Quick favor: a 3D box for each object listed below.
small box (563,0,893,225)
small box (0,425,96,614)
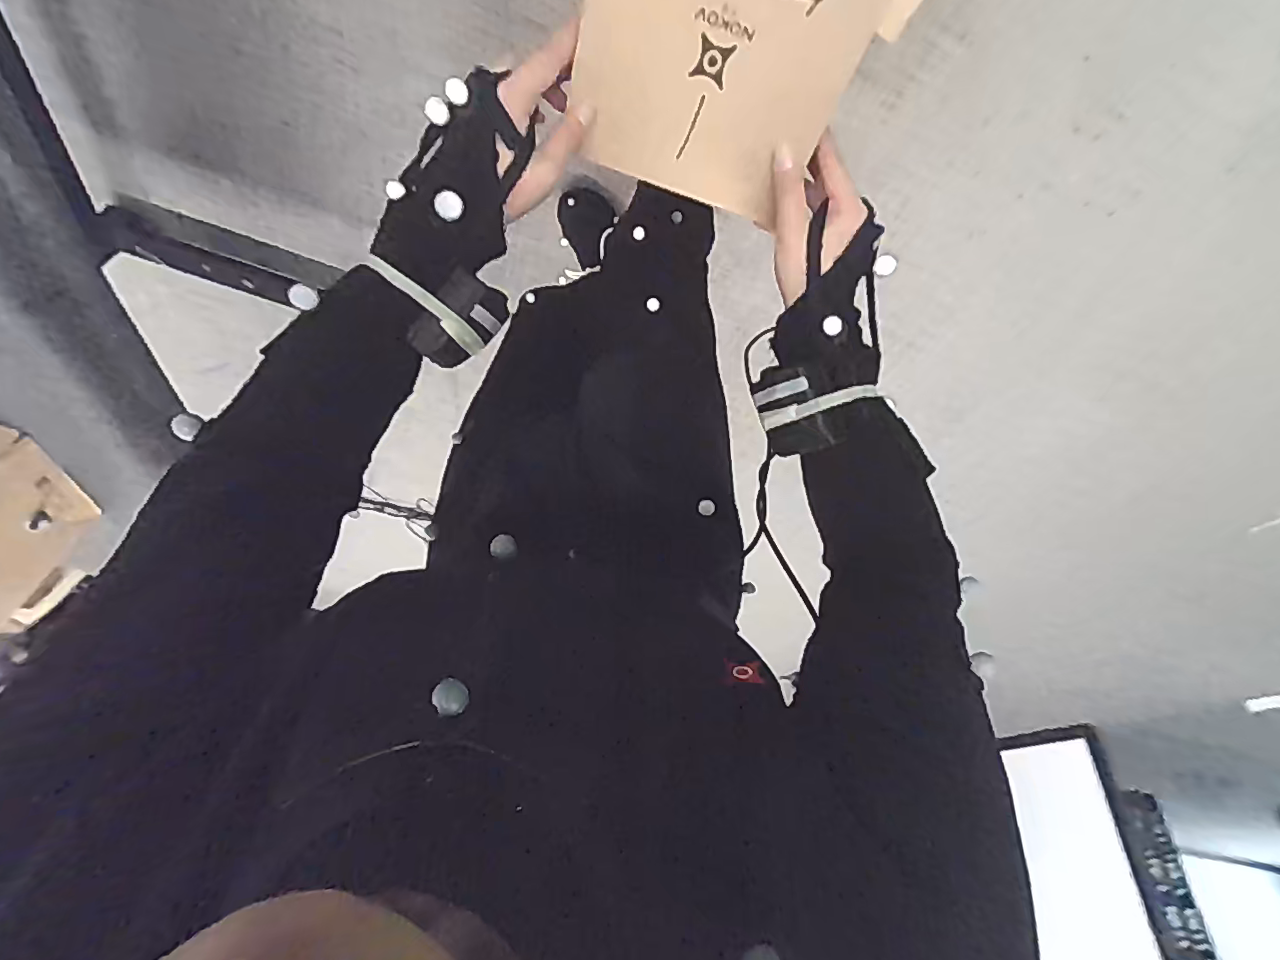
[{"bbox_3d":[0.053,-0.319,0.369,0.168,0.176,0.179,14,140,-11],"label":"small box"},{"bbox_3d":[-0.728,0.035,0.540,0.179,0.176,0.168,15,142,-10],"label":"small box"}]
